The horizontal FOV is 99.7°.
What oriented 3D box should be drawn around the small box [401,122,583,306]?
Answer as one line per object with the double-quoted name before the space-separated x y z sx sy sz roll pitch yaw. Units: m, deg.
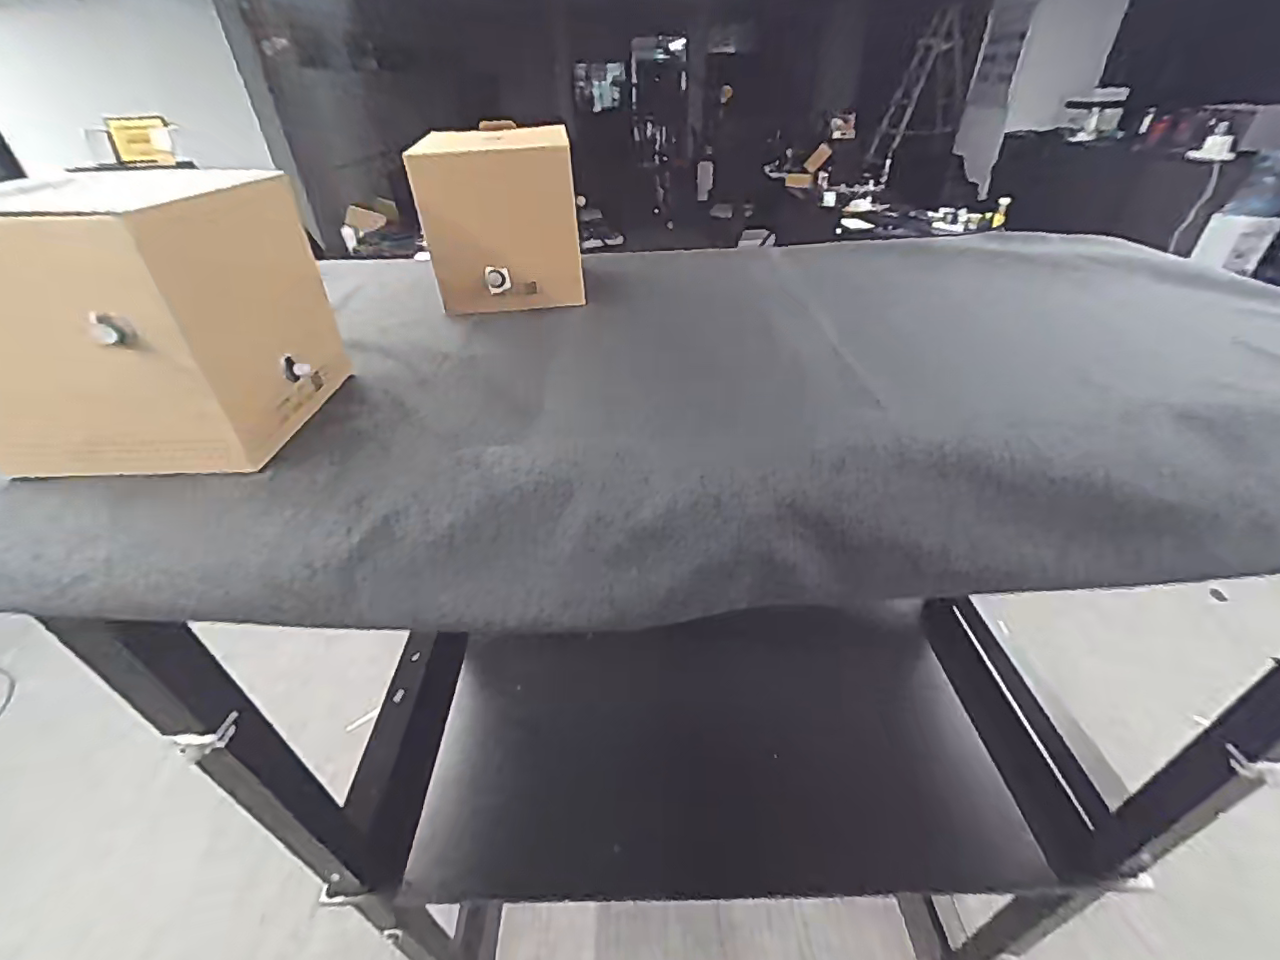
"small box" -0.160 -0.319 0.645 0.168 0.176 0.179 -7 37 -5
